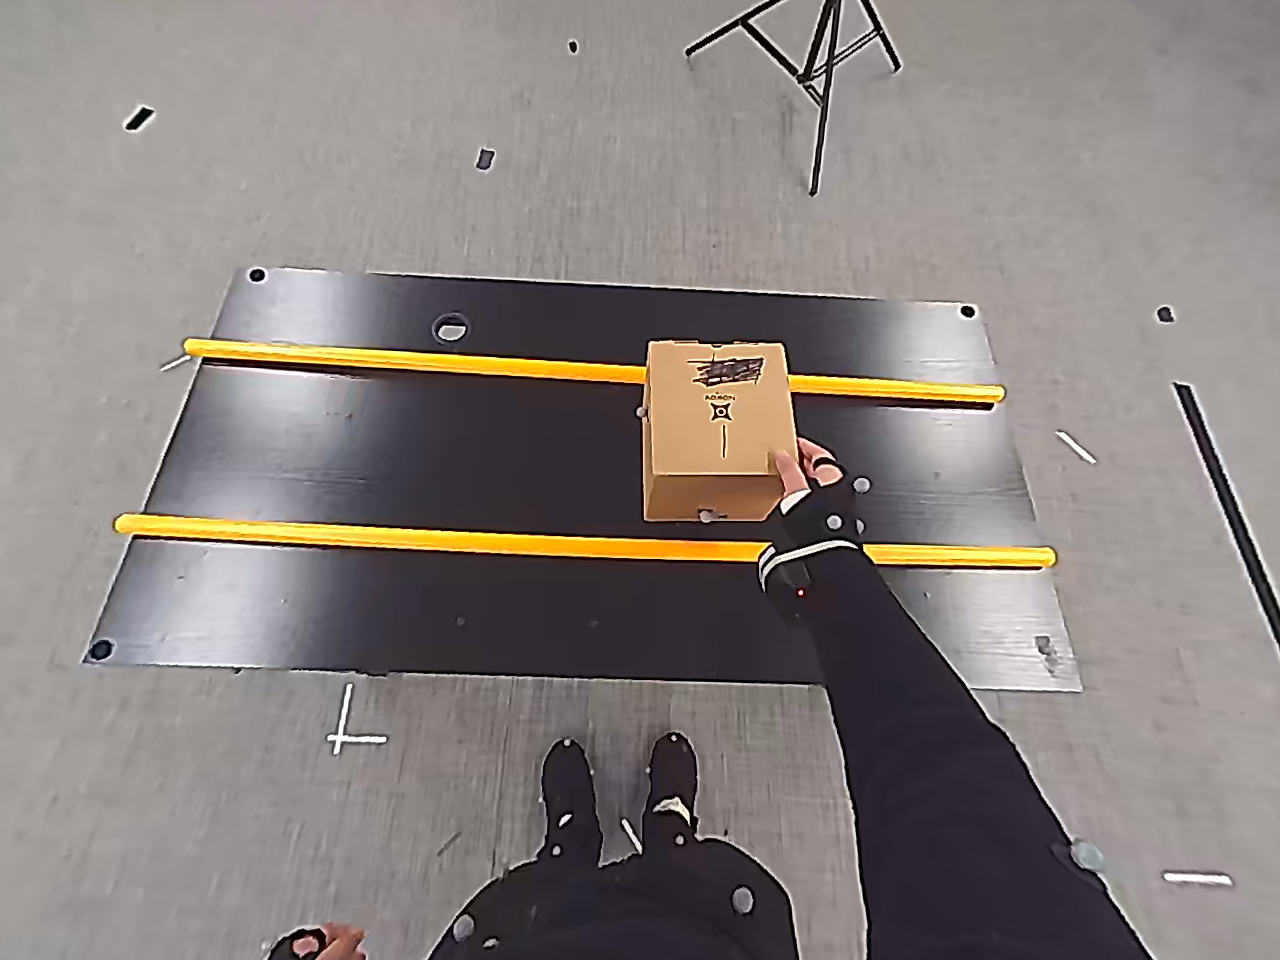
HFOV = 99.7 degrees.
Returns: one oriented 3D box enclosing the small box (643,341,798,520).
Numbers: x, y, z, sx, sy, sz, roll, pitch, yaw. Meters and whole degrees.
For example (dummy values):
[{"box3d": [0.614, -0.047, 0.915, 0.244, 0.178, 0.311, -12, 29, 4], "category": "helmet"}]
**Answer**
[{"box3d": [0.091, -0.058, 0.702, 0.168, 0.176, 0.179, 0, 69, -2], "category": "small box"}]
